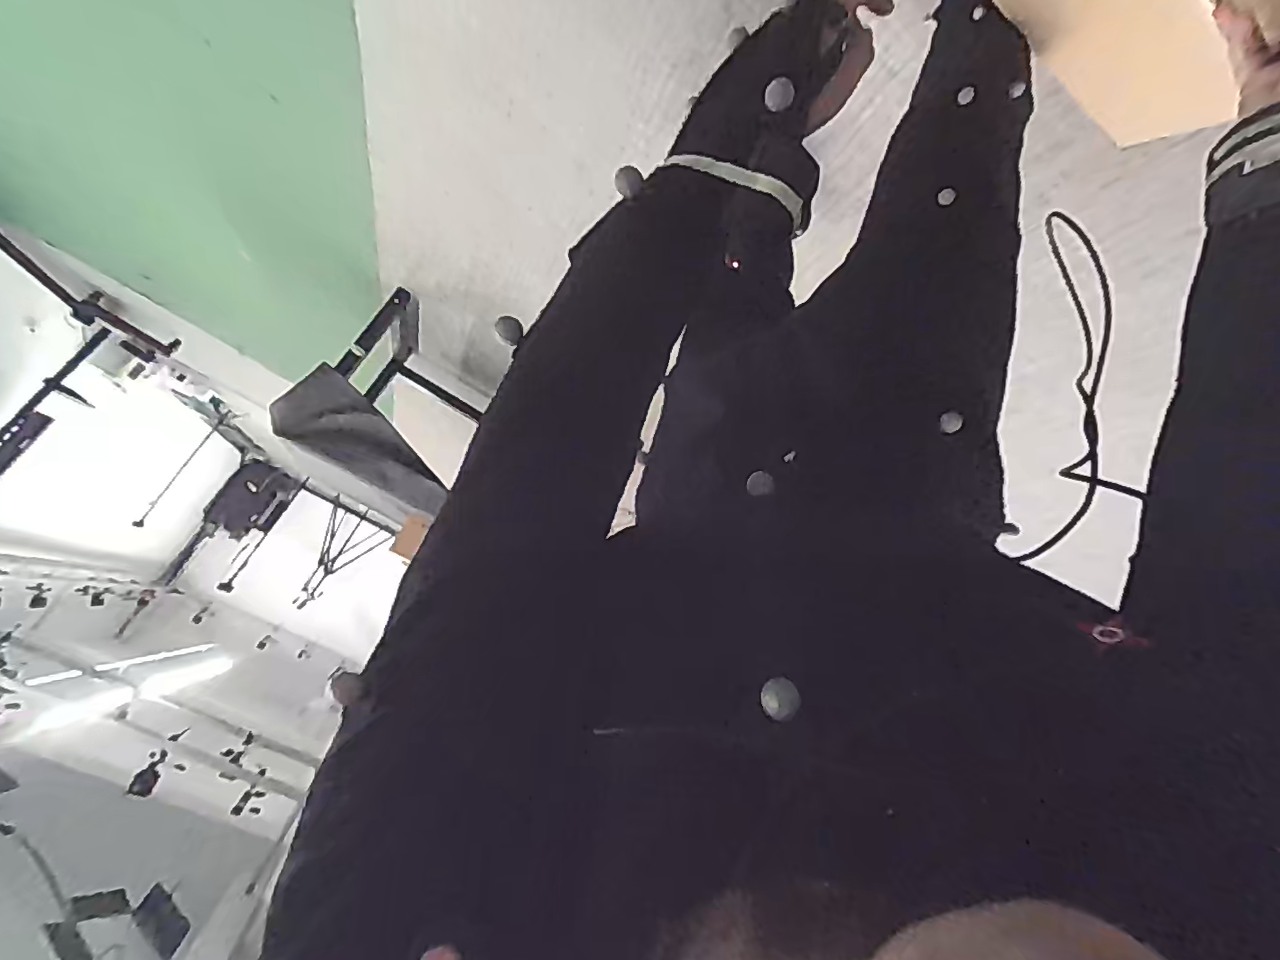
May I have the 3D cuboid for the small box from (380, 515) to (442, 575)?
[{"bbox_3d":[-0.888,0.254,2.101,0.168,0.176,0.179,31,157,-16],"label":"small box"}]
